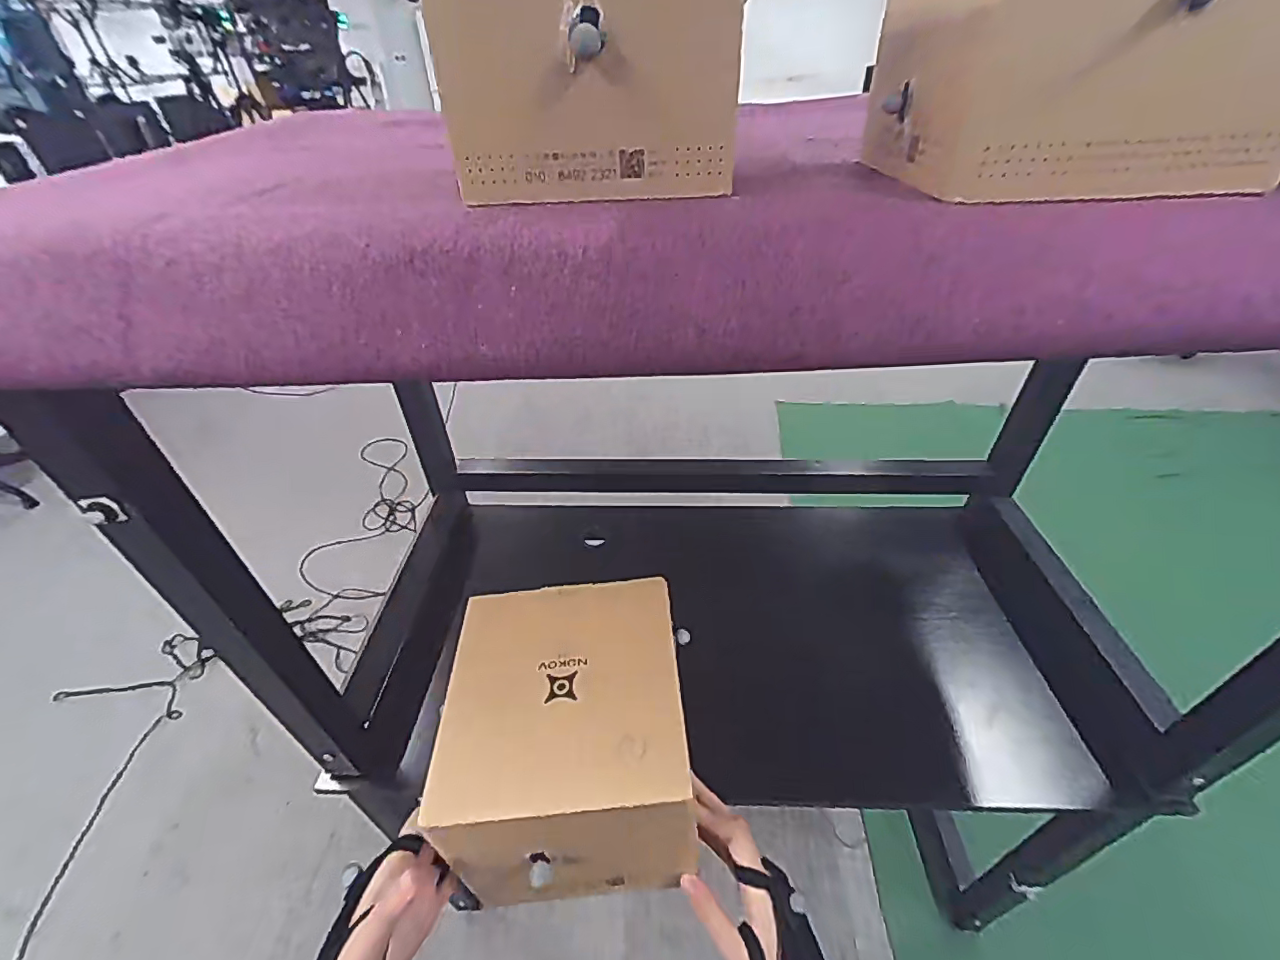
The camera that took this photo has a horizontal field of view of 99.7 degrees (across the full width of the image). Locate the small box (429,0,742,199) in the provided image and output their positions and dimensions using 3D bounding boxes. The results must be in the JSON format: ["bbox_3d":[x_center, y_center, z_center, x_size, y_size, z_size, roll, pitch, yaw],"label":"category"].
[{"bbox_3d":[-0.028,-0.286,0.345,0.168,0.176,0.179,-1,38,0],"label":"small box"}]
